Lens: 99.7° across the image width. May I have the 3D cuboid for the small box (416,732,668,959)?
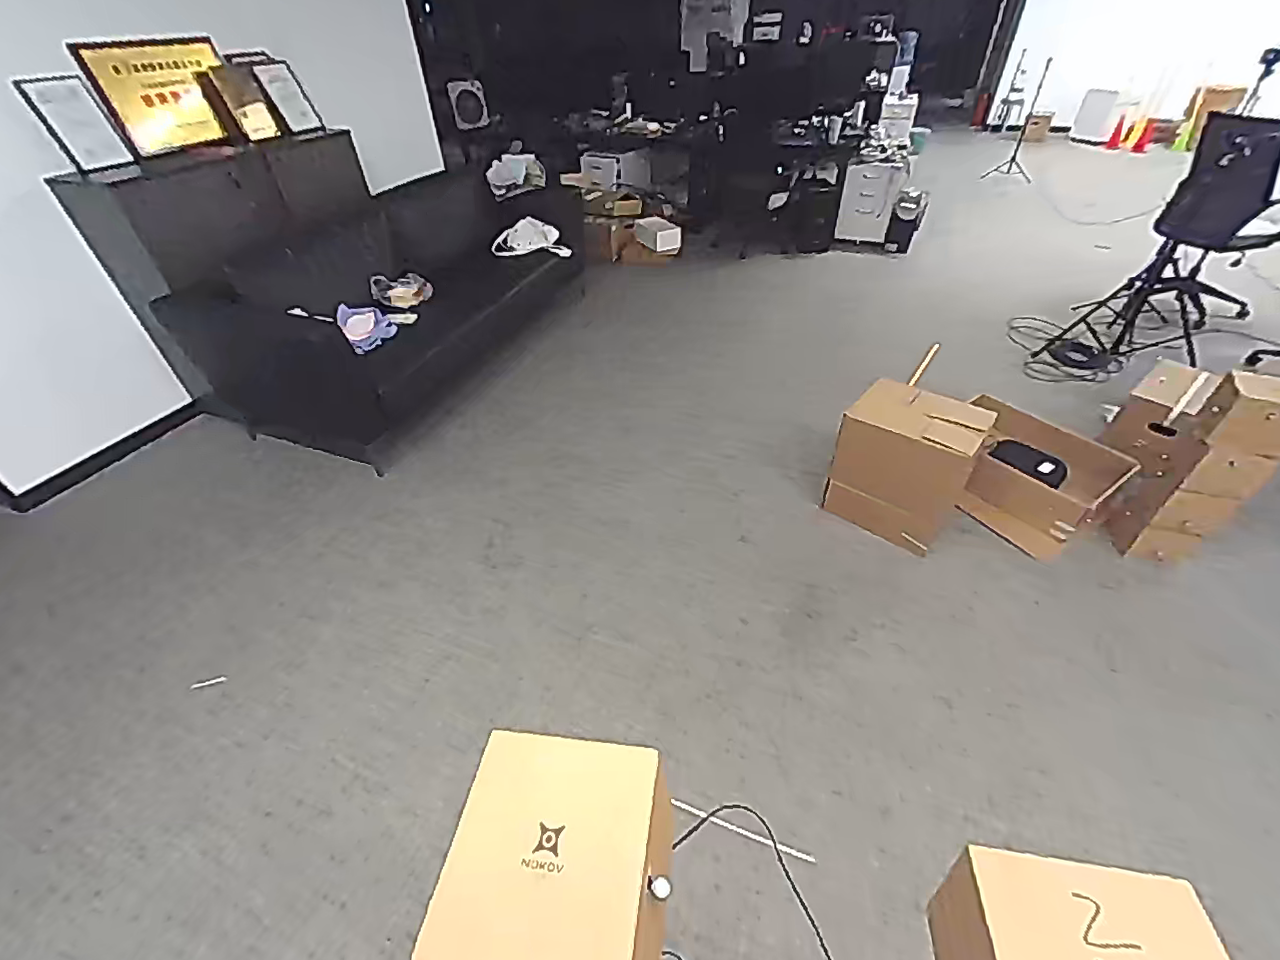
[{"bbox_3d":[-0.068,0.366,0.505,0.168,0.176,0.179,1,43,12],"label":"small box"}]
